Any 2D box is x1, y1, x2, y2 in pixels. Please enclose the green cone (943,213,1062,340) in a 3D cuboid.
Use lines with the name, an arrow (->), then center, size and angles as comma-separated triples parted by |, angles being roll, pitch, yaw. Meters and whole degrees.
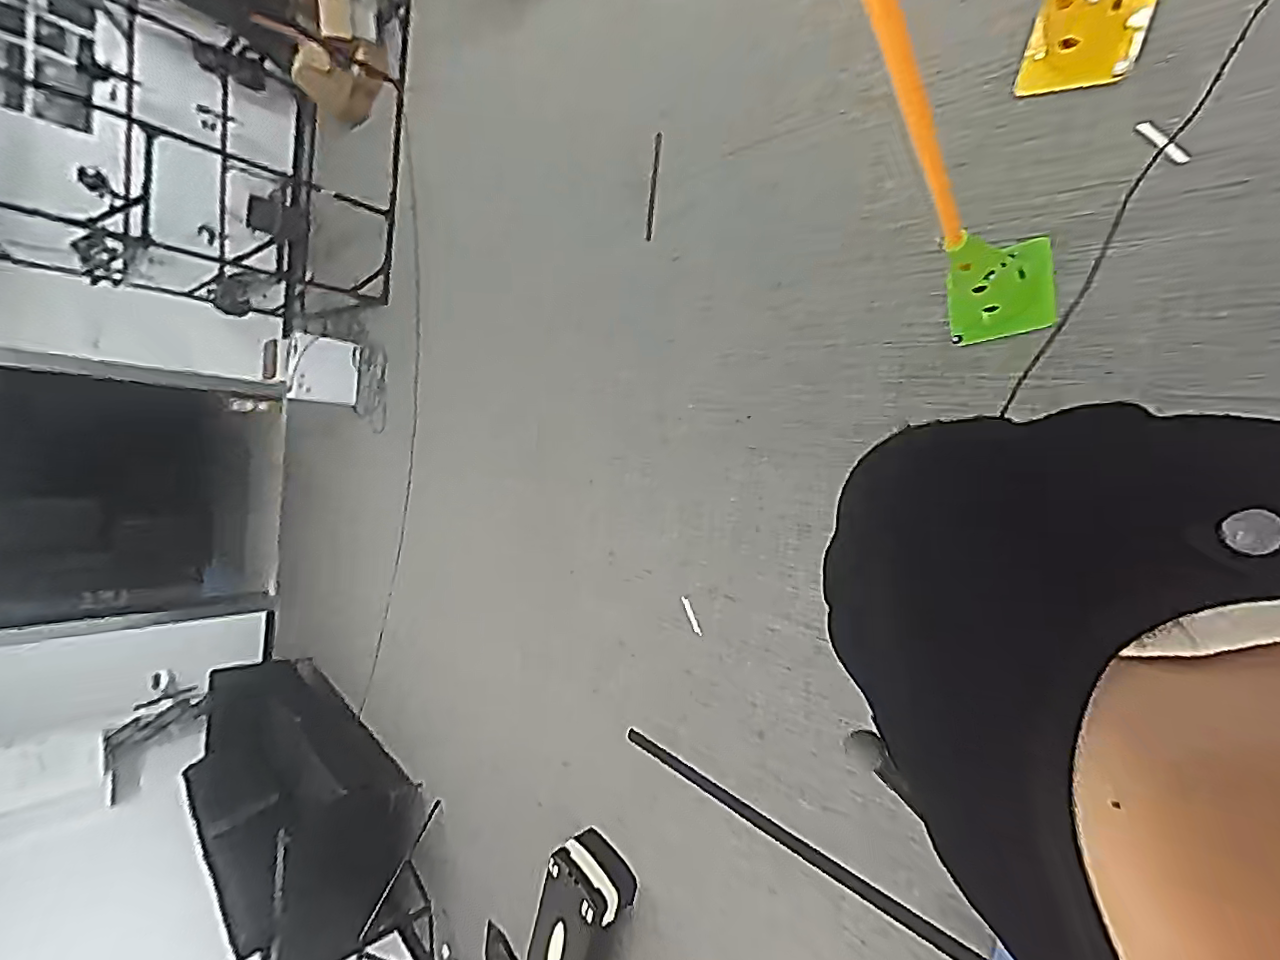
green cone -> 0.681, -0.434, 1.071 | 0.200, 0.368, 0.202 | -7, 82, 44
